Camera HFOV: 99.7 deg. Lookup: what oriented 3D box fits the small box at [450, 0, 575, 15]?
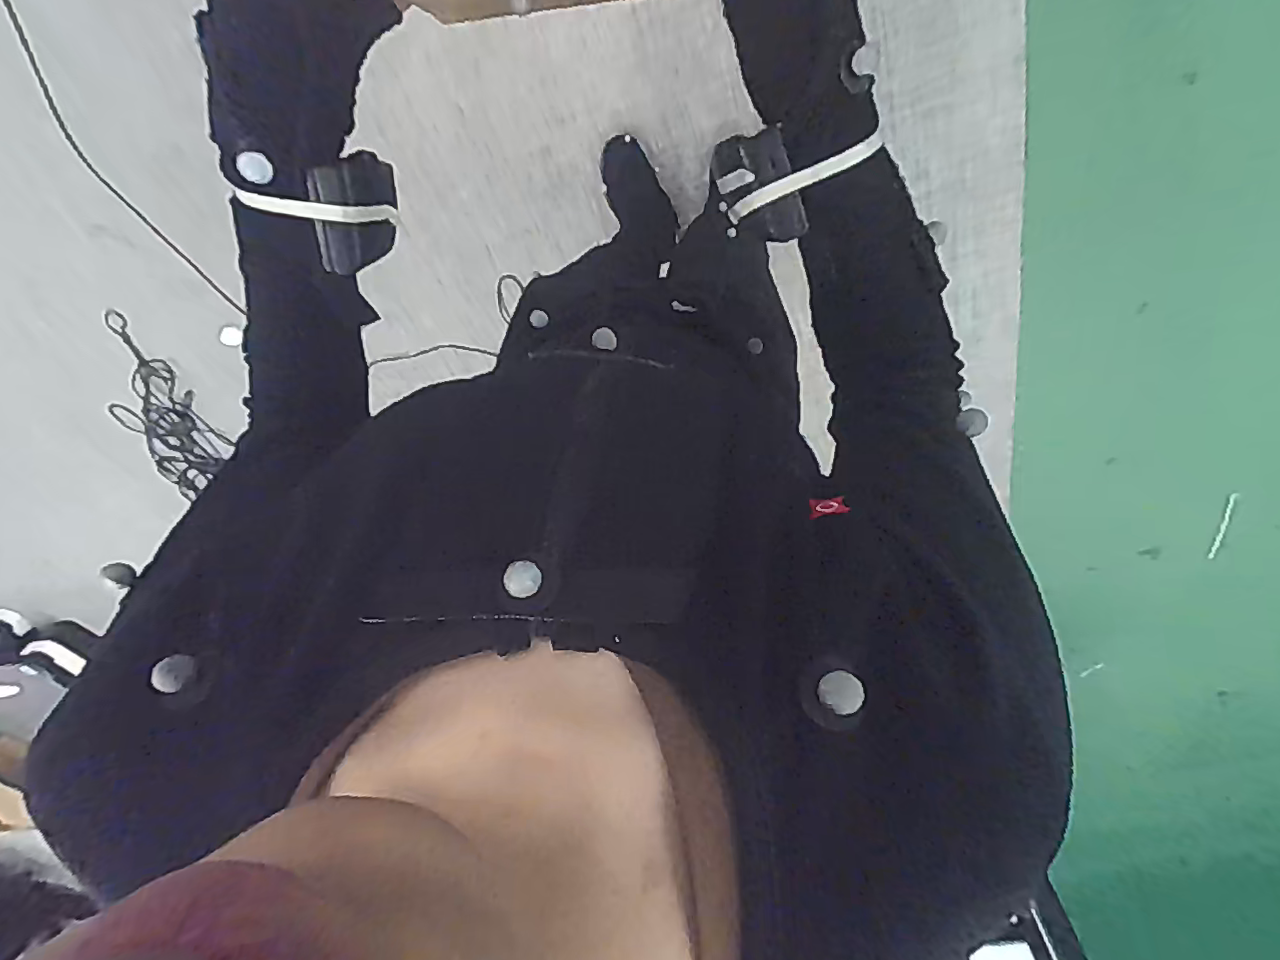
[{"bbox_3d":[-0.061,-0.345,0.238,0.168,0.176,0.179,-3,121,6],"label":"small box"}]
